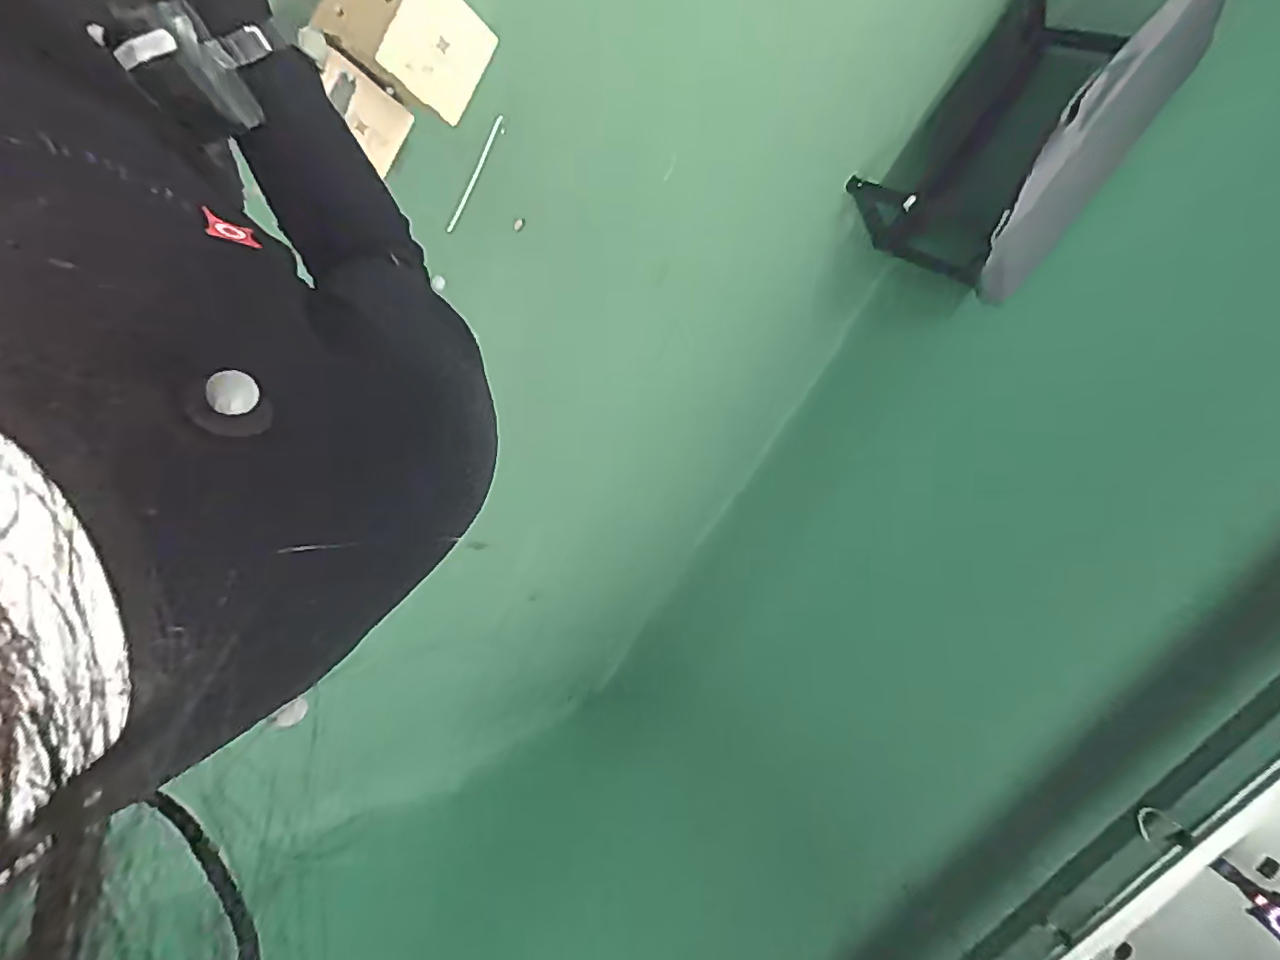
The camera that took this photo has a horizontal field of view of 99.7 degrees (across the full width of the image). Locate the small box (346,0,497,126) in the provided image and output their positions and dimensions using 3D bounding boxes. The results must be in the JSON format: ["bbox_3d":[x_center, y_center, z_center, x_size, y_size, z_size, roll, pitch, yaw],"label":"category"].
[{"bbox_3d":[-0.402,-0.801,0.986,0.179,0.176,0.168,-55,147,12],"label":"small box"}]
